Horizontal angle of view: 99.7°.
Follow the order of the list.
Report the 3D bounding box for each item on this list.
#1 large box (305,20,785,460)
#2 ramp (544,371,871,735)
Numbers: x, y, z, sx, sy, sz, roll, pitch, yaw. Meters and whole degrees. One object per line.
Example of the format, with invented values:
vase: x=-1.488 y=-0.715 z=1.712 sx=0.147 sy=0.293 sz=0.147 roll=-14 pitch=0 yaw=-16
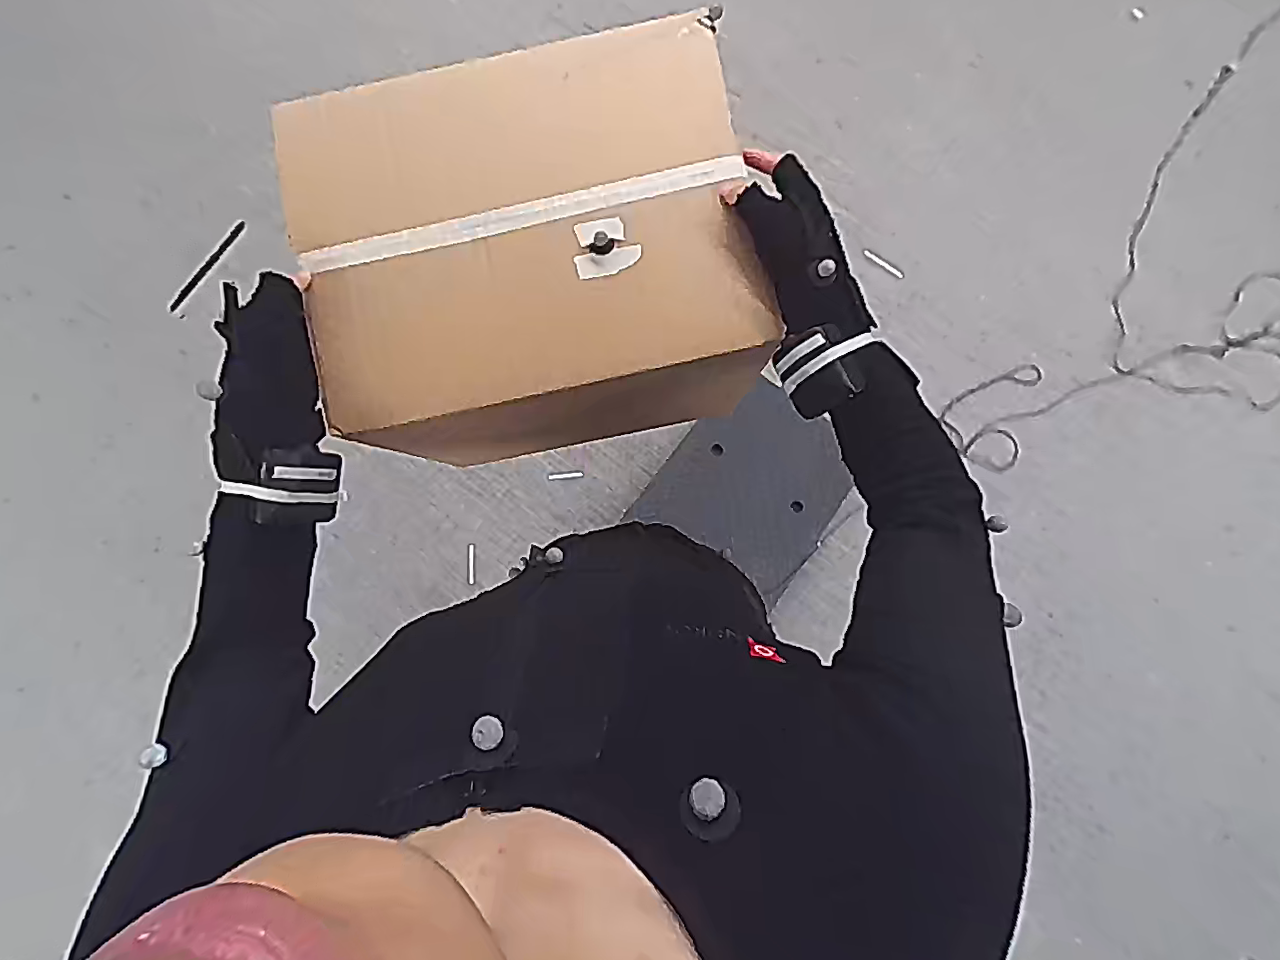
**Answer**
large box: x=-0.091 y=-0.228 z=0.641 sx=0.408 sy=0.320 sz=0.320 roll=-11 pitch=86 yaw=0
ramp: x=0.220 y=0.147 z=1.555 sx=0.509 sy=0.206 sz=0.991 roll=34 pitch=85 yaw=9
